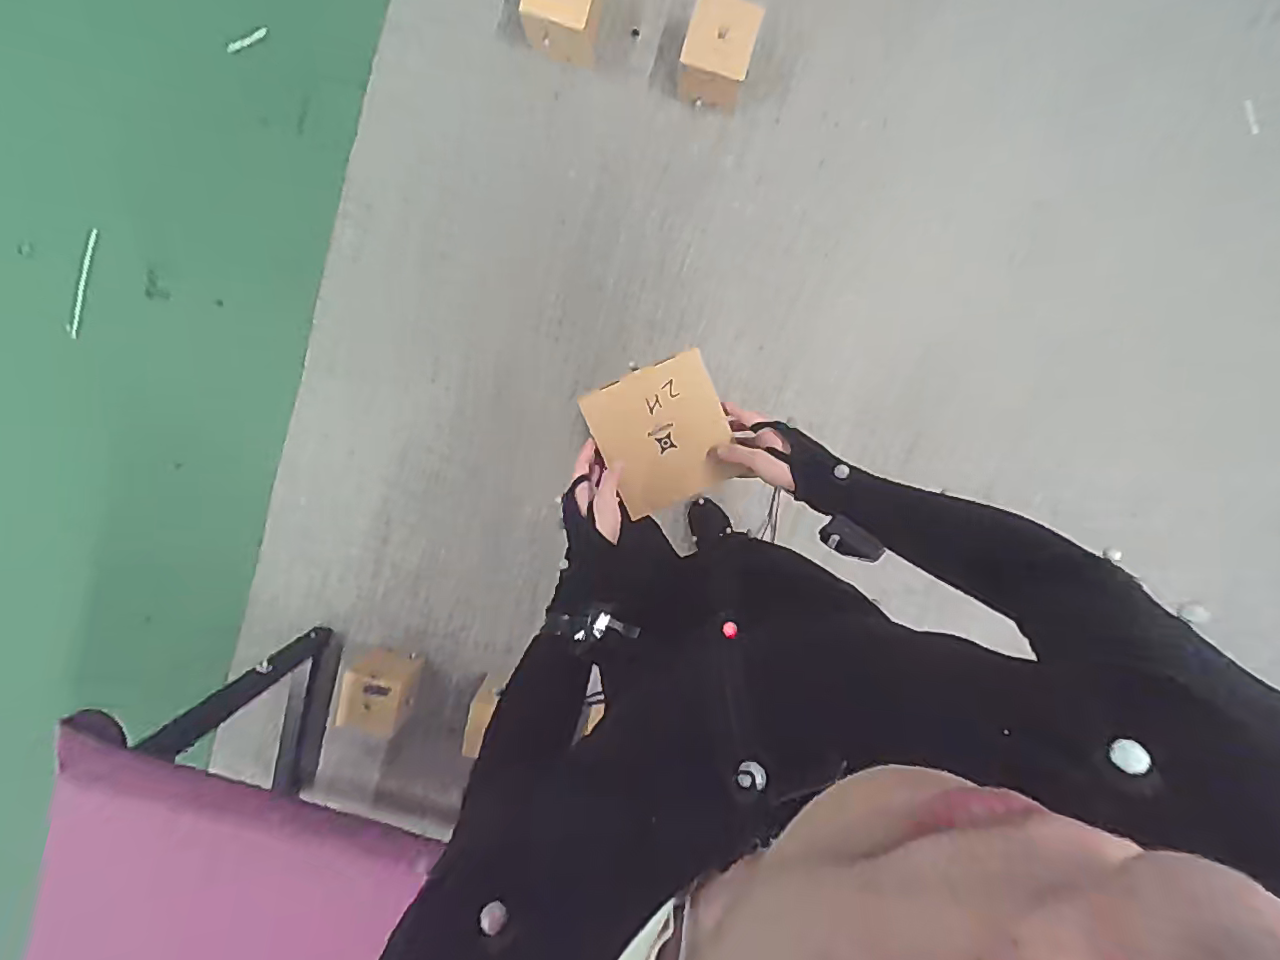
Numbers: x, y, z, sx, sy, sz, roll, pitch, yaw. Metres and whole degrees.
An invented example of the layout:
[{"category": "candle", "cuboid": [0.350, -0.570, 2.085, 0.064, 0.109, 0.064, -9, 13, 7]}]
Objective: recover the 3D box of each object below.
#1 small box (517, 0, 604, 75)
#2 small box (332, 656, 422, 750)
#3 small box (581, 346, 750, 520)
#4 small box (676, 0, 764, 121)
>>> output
[{"category": "small box", "cuboid": [-0.191, -1.173, 1.358, 0.168, 0.176, 0.179, 16, 95, -1]}, {"category": "small box", "cuboid": [-0.750, 0.635, 1.560, 0.168, 0.176, 0.179, 14, 97, -1]}, {"category": "small box", "cuboid": [0.032, -0.072, 0.743, 0.168, 0.176, 0.179, -22, 101, 2]}, {"category": "small box", "cuboid": [0.193, -1.064, 1.368, 0.168, 0.176, 0.179, 16, 96, -1]}]
